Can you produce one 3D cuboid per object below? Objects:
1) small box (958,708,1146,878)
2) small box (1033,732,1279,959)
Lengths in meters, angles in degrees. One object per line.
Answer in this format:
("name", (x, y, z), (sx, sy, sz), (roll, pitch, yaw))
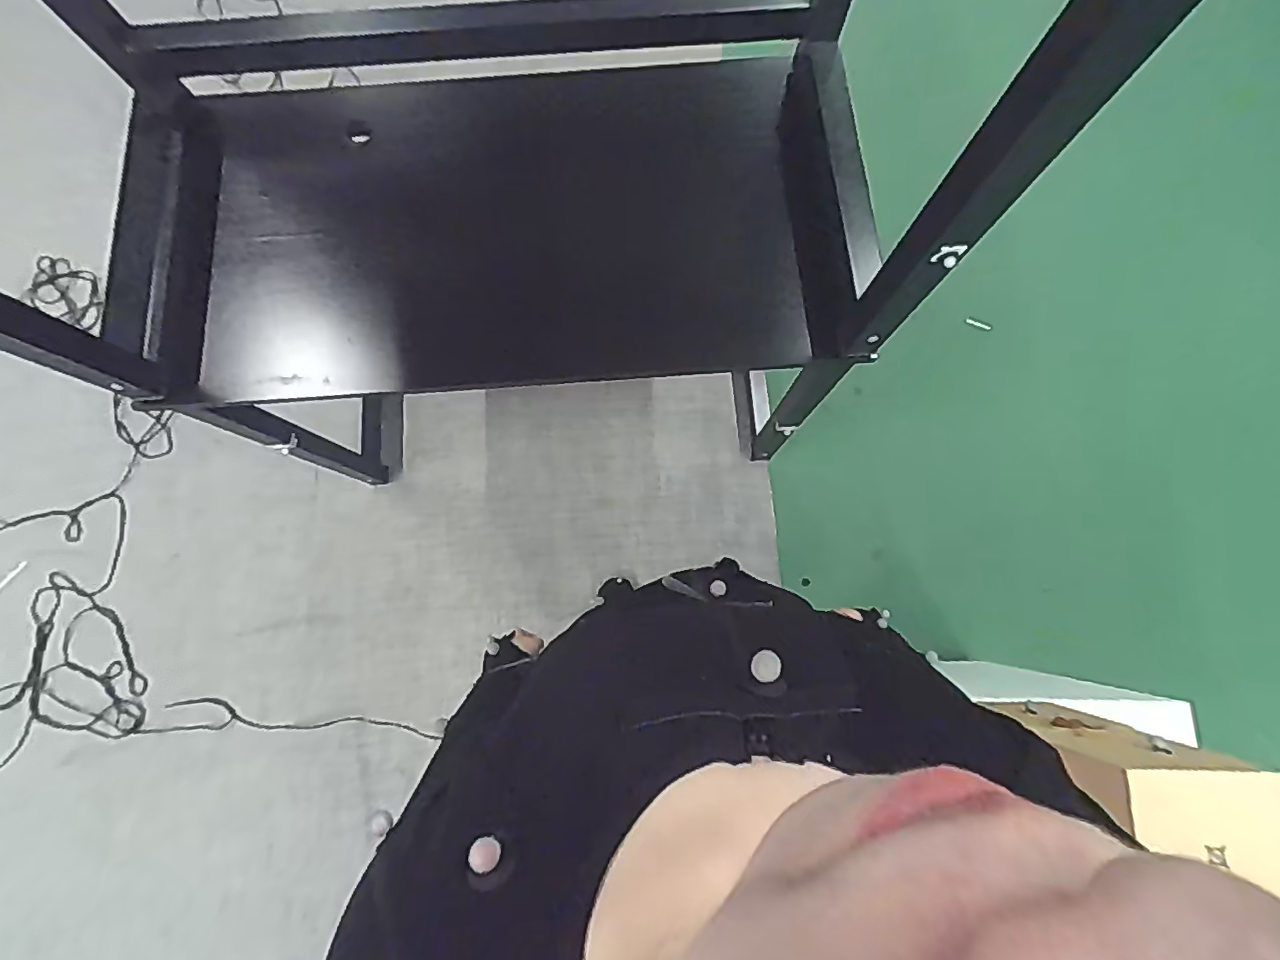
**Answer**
("small box", (0.586, 0.431, 0.773), (0.168, 0.176, 0.179), (-1, 78, 1))
("small box", (0.585, 0.398, 0.612), (0.168, 0.176, 0.179), (1, 80, 1))
